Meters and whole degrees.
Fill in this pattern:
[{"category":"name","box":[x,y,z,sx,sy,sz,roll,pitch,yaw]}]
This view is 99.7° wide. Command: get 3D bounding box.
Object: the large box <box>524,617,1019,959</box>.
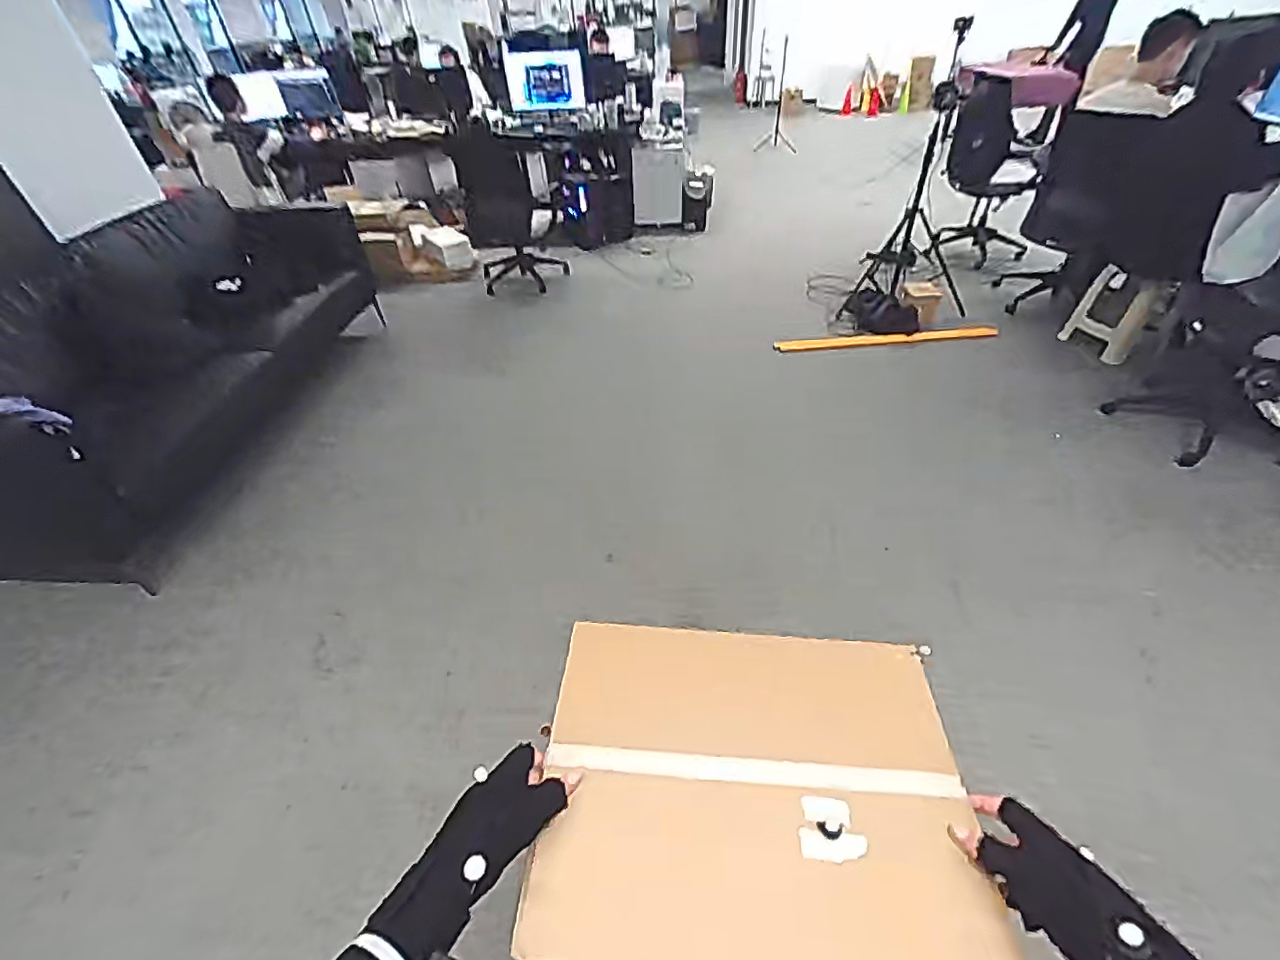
[{"category":"large box","box":[0.108,0.389,0.637,0.408,0.320,0.320,3,42,3]}]
